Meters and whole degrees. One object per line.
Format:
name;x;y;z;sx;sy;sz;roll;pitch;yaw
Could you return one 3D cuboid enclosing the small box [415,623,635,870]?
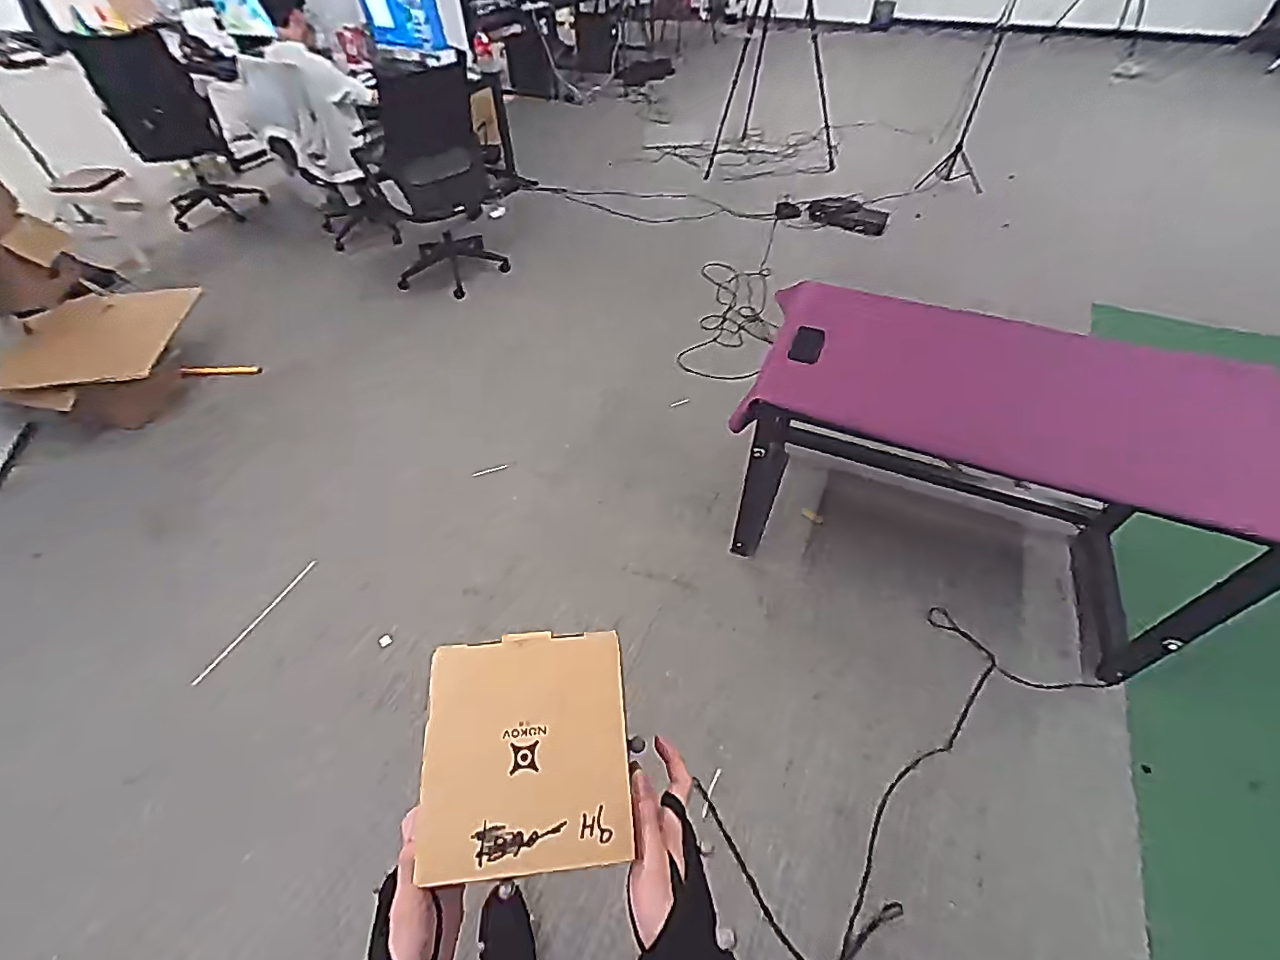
small box;-0.092;0.250;0.514;0.168;0.176;0.179;-5;59;-2
